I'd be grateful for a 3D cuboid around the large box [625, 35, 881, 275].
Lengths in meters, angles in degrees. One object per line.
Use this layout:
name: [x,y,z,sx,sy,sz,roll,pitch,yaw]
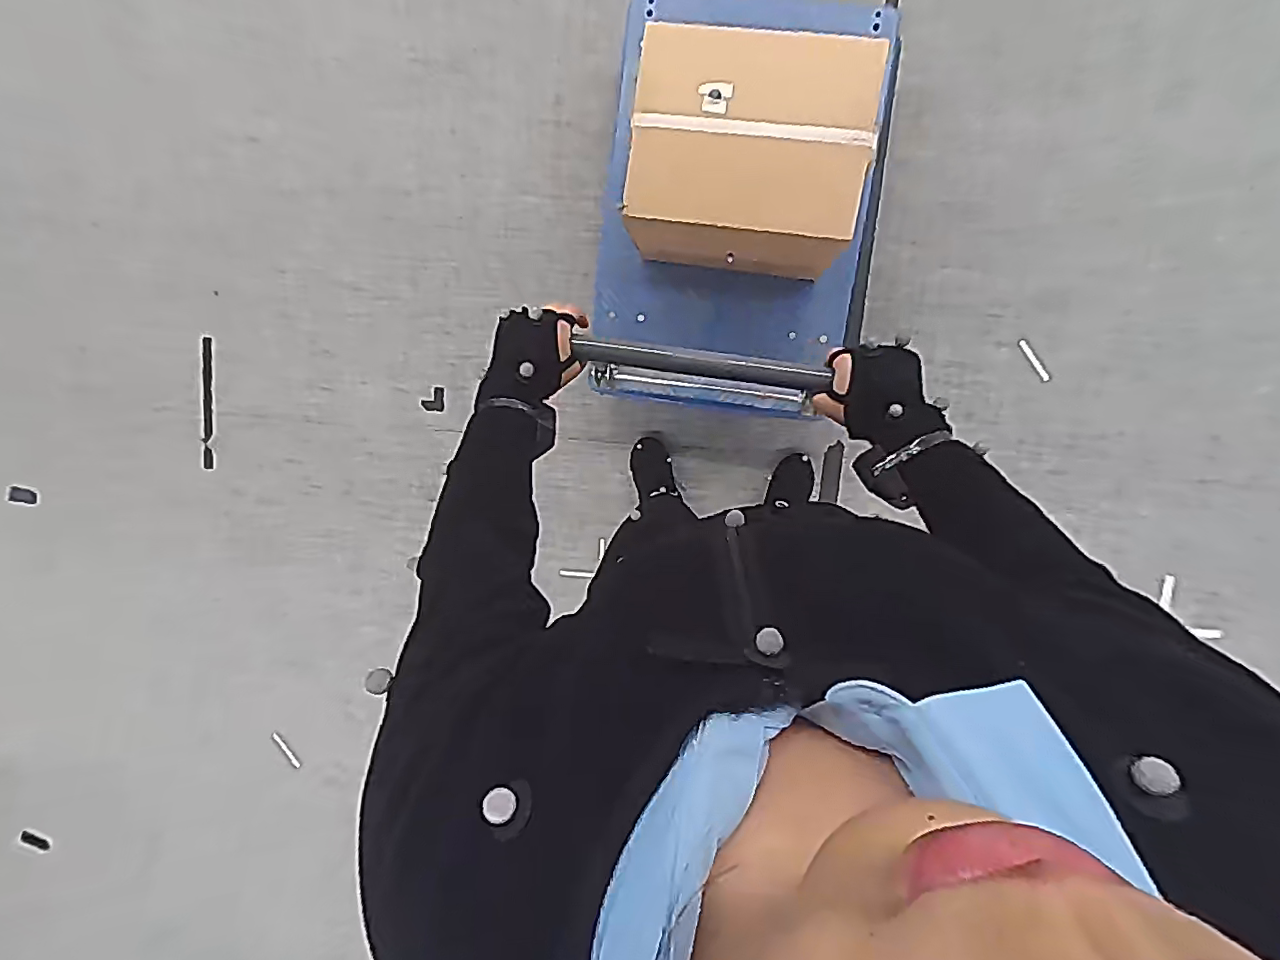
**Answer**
large box: [0.208,-0.614,1.077,0.408,0.320,0.320,9,98,7]
